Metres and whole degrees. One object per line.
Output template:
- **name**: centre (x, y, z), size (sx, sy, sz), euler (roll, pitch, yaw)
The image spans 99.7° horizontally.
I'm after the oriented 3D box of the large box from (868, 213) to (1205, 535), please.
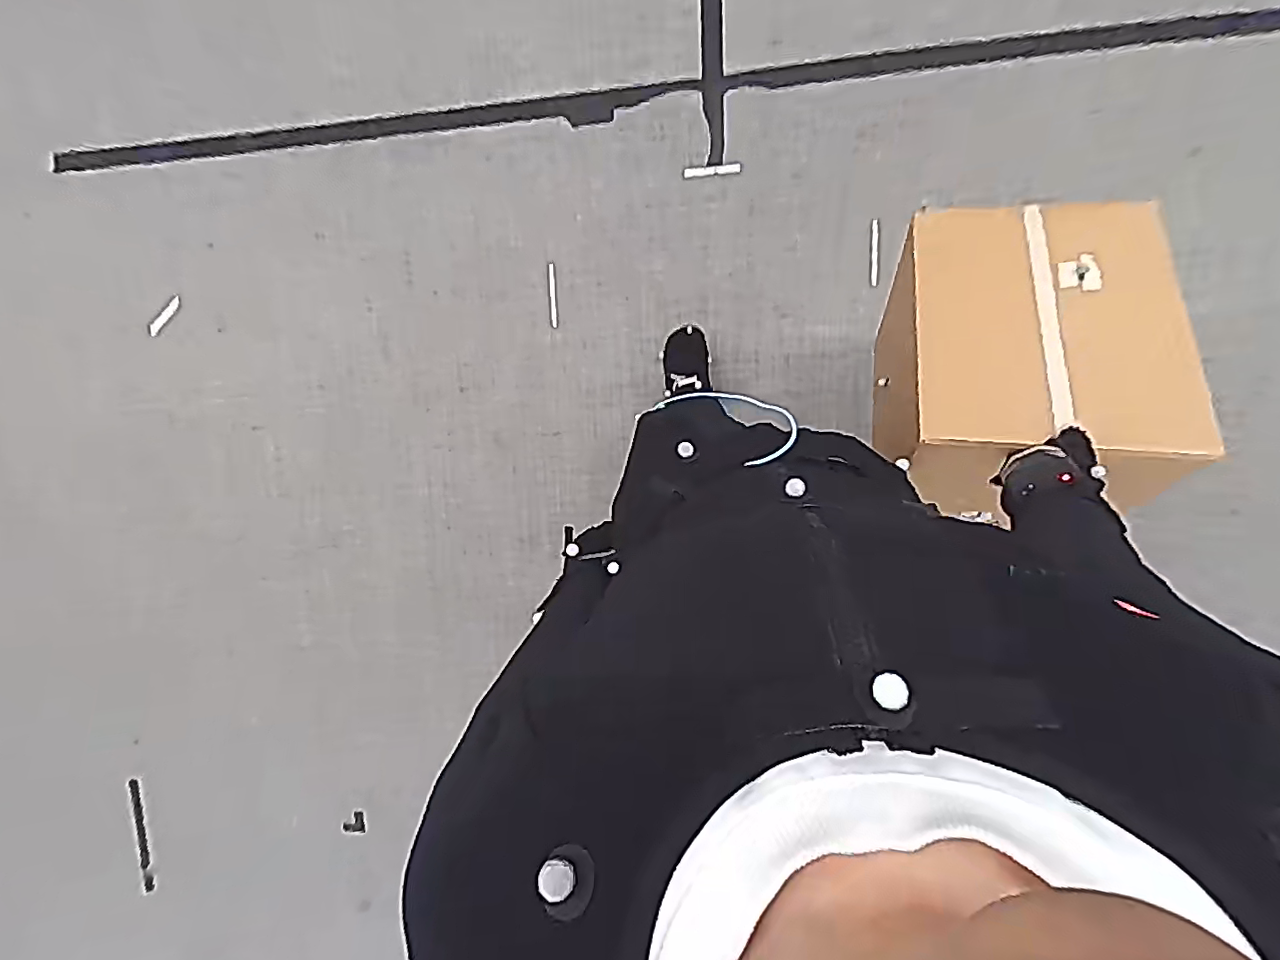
- **large box**: centre (0.560, -0.155, 0.868), size (0.320, 0.320, 0.408), euler (5, 65, 12)
